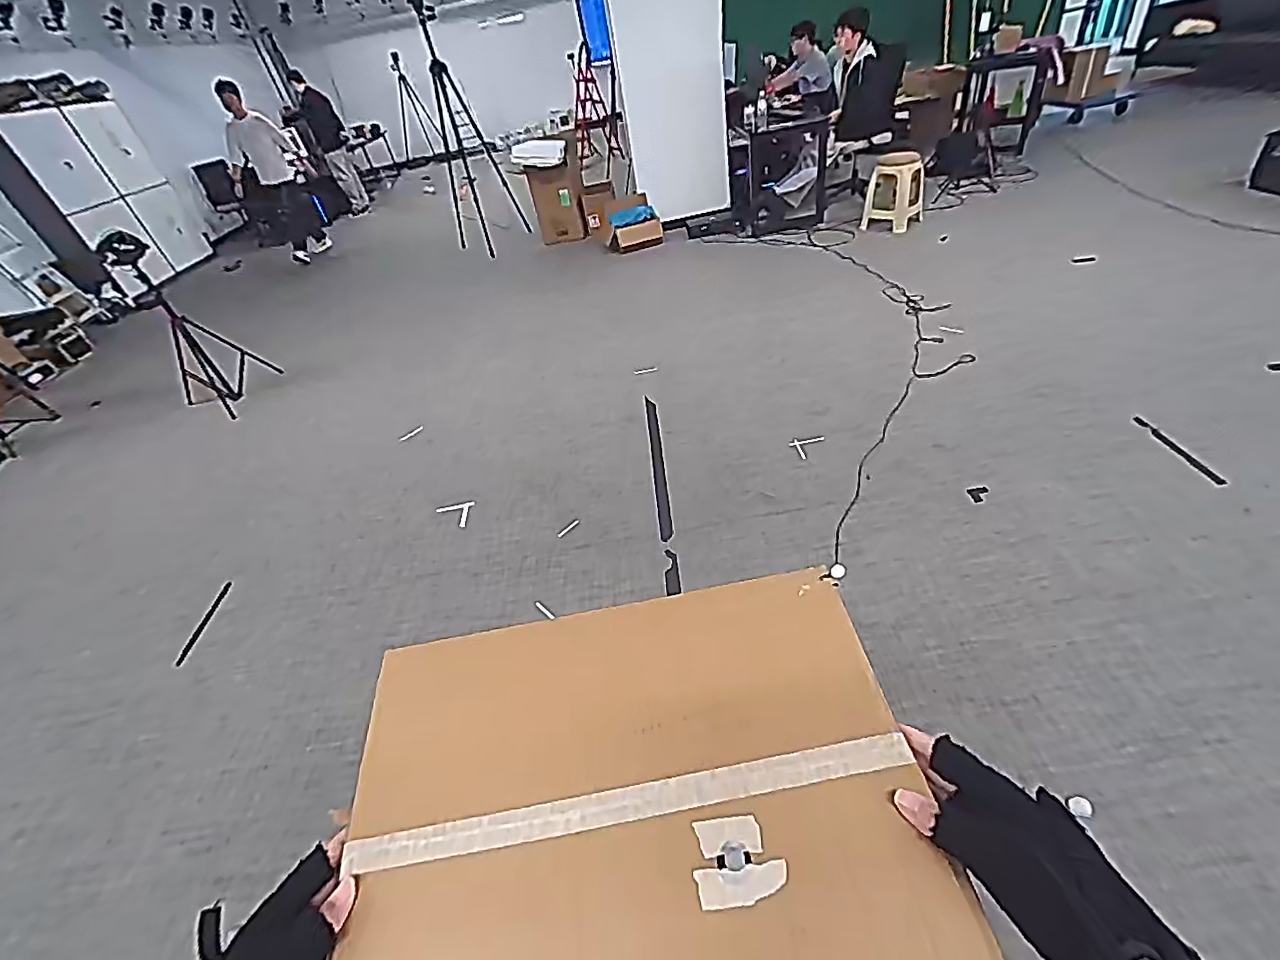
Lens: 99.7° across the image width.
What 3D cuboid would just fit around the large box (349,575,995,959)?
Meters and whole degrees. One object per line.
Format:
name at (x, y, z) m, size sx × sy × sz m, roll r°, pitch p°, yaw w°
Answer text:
large box at (0.012, 0.334, 0.505) m, size 0.408 × 0.320 × 0.320 m, roll -11°, pitch 48°, yaw -1°
